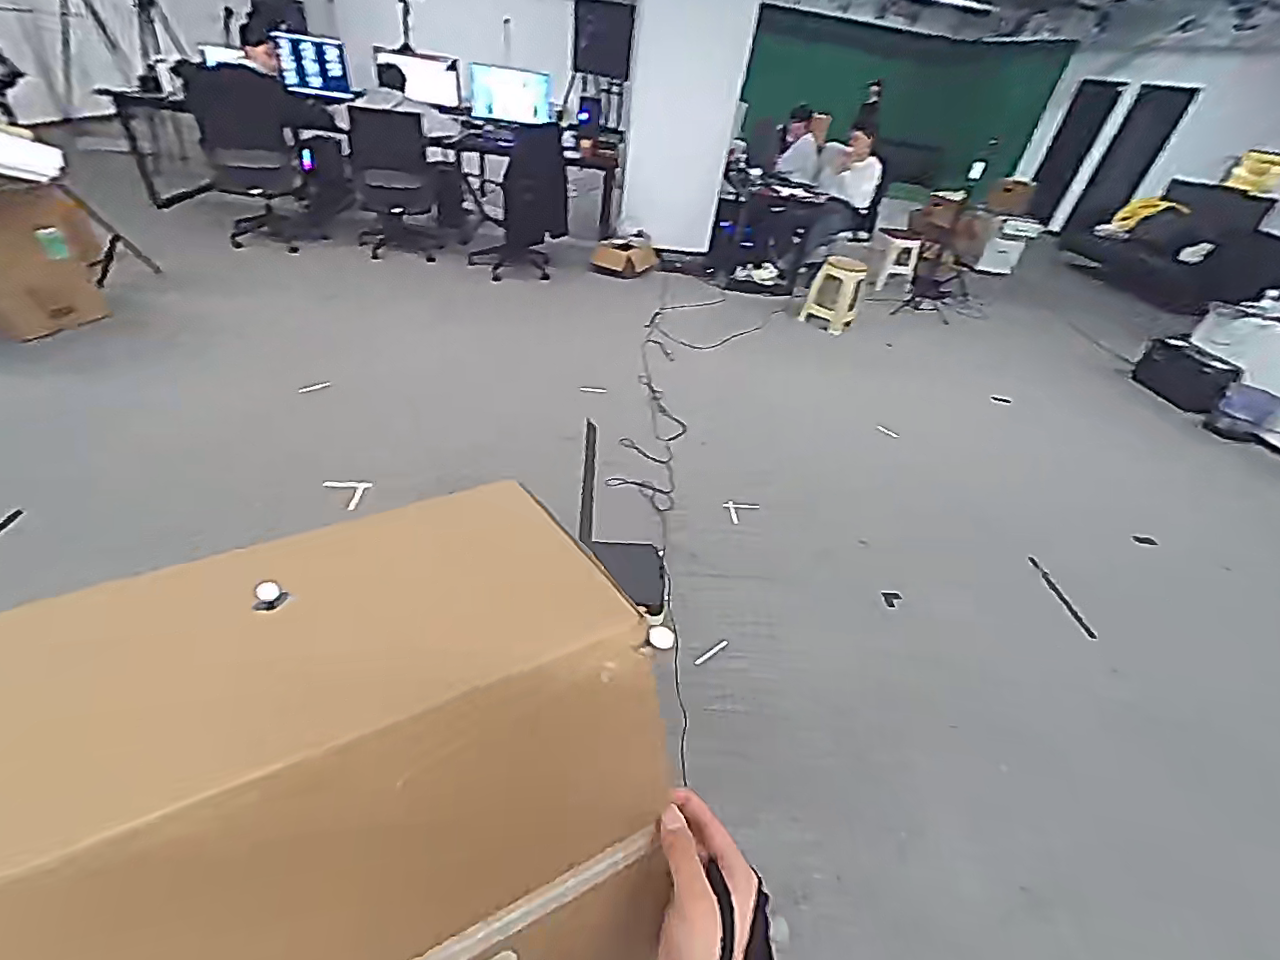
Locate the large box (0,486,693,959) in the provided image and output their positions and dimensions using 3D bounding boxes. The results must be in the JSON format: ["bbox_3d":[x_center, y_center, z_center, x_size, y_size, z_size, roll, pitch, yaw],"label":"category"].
[{"bbox_3d":[-0.219,0.232,0.425,0.408,0.320,0.320,-16,23,-21],"label":"large box"}]
